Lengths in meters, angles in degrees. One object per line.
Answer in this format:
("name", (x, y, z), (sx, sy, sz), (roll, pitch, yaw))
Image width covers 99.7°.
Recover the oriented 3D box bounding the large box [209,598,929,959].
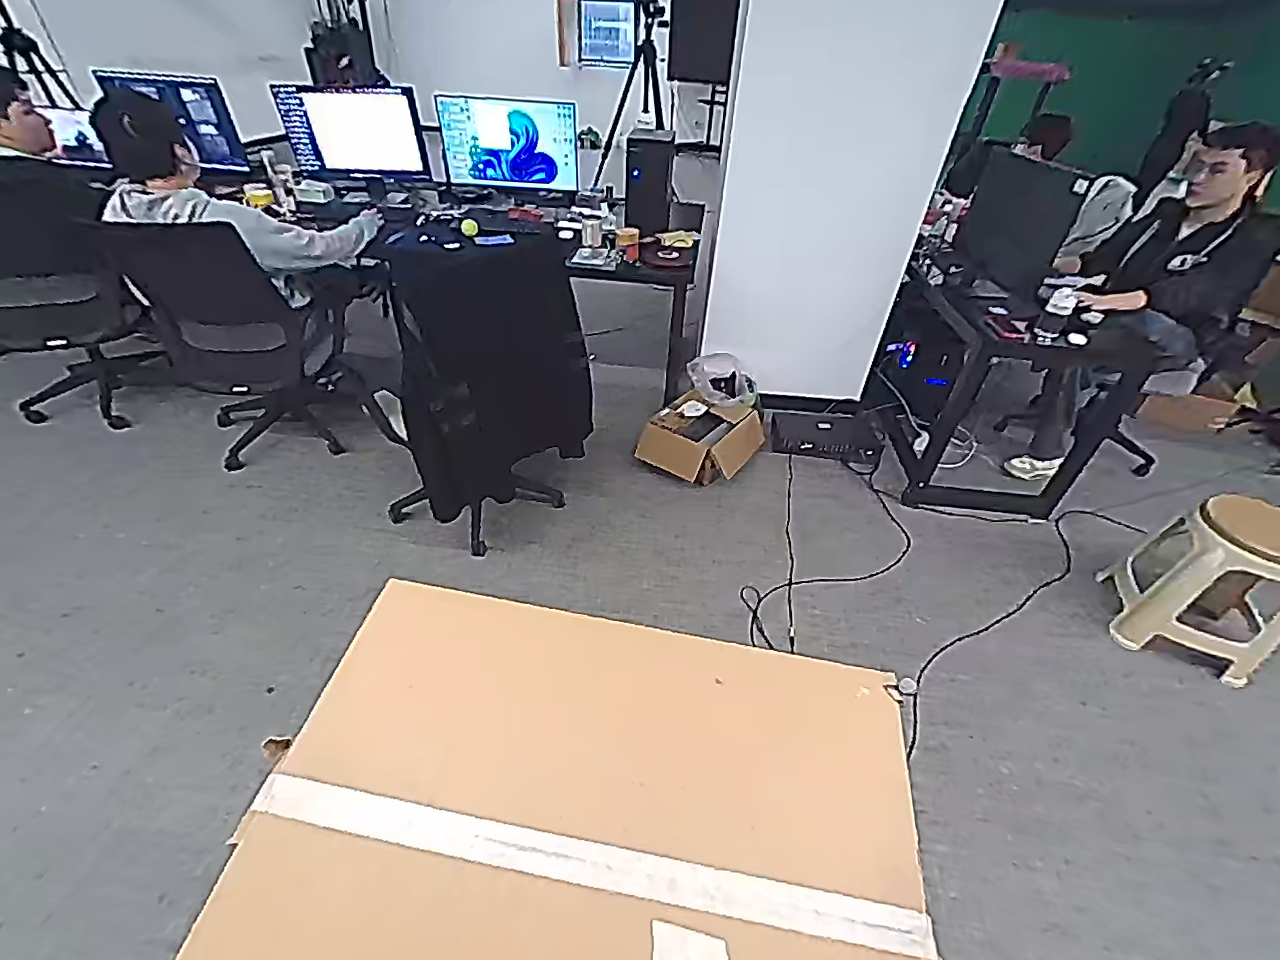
("large box", (-0.037, 0.335, 0.442), (0.408, 0.320, 0.320), (10, 49, 3))
